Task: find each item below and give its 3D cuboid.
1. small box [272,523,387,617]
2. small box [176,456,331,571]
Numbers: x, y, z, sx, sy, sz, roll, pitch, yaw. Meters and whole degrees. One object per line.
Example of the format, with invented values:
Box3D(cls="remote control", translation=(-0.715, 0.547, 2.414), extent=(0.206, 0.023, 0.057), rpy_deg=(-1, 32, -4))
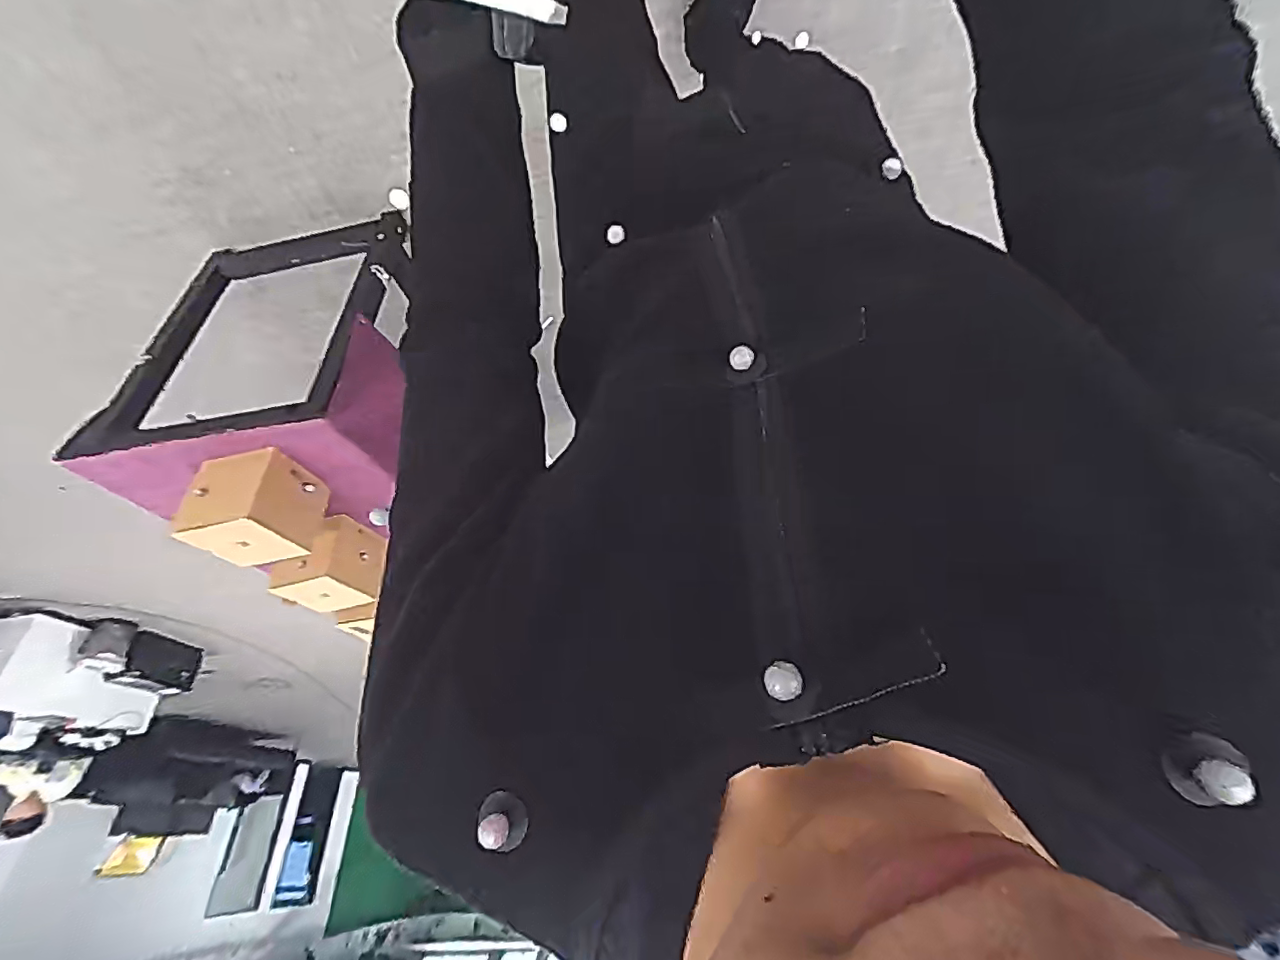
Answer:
Box3D(cls="small box", translation=(-0.756, 0.222, 1.343), extent=(0.179, 0.176, 0.168), rpy_deg=(-14, 144, 15))
Box3D(cls="small box", translation=(-0.784, 0.070, 1.119), extent=(0.179, 0.176, 0.168), rpy_deg=(-10, 146, 10))
